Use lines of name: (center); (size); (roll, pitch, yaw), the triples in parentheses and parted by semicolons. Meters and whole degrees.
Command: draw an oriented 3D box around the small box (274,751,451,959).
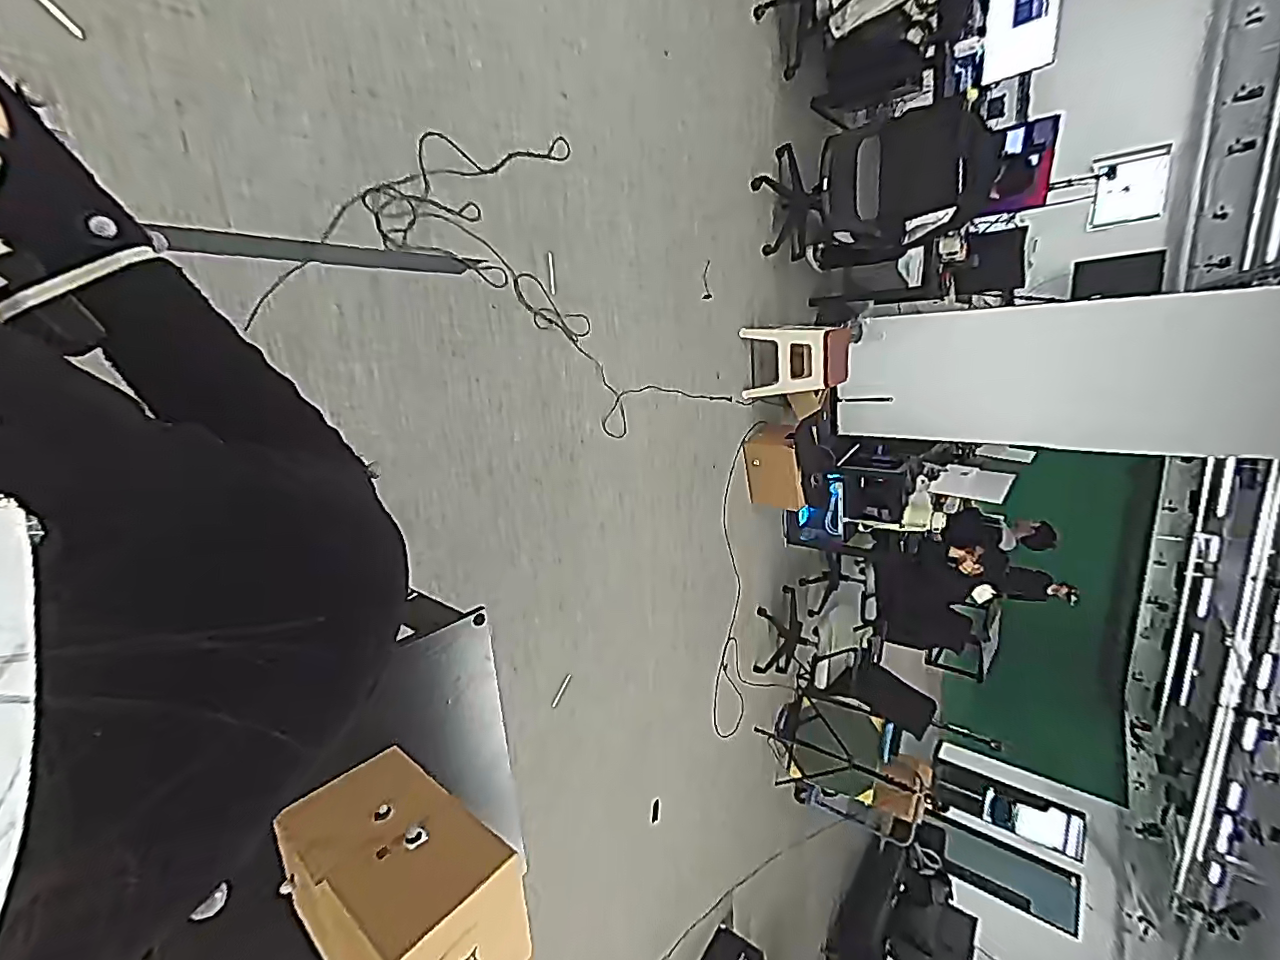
small box: (-0.384, 0.528, 0.771); (0.179, 0.176, 0.168); (-18, 109, -47)

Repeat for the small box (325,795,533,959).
small box: (-0.258, 0.542, 0.670); (0.168, 0.176, 0.179); (-20, 110, -49)
